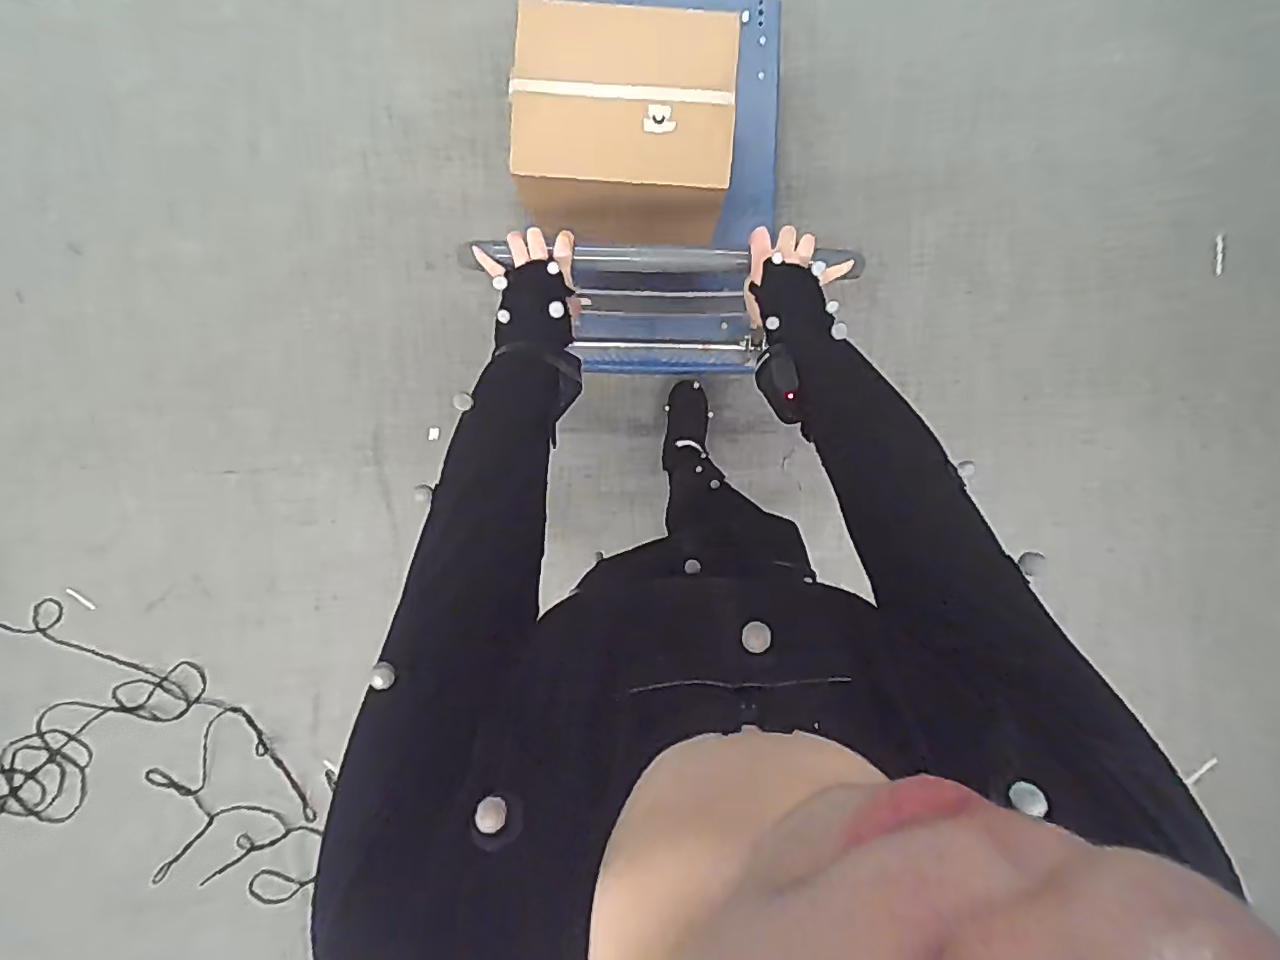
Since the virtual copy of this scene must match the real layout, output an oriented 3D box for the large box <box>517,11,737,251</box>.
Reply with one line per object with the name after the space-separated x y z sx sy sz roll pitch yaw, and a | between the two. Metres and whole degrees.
-0.028 -0.707 1.148 0.408 0.320 0.320 4 92 -1 | large box
